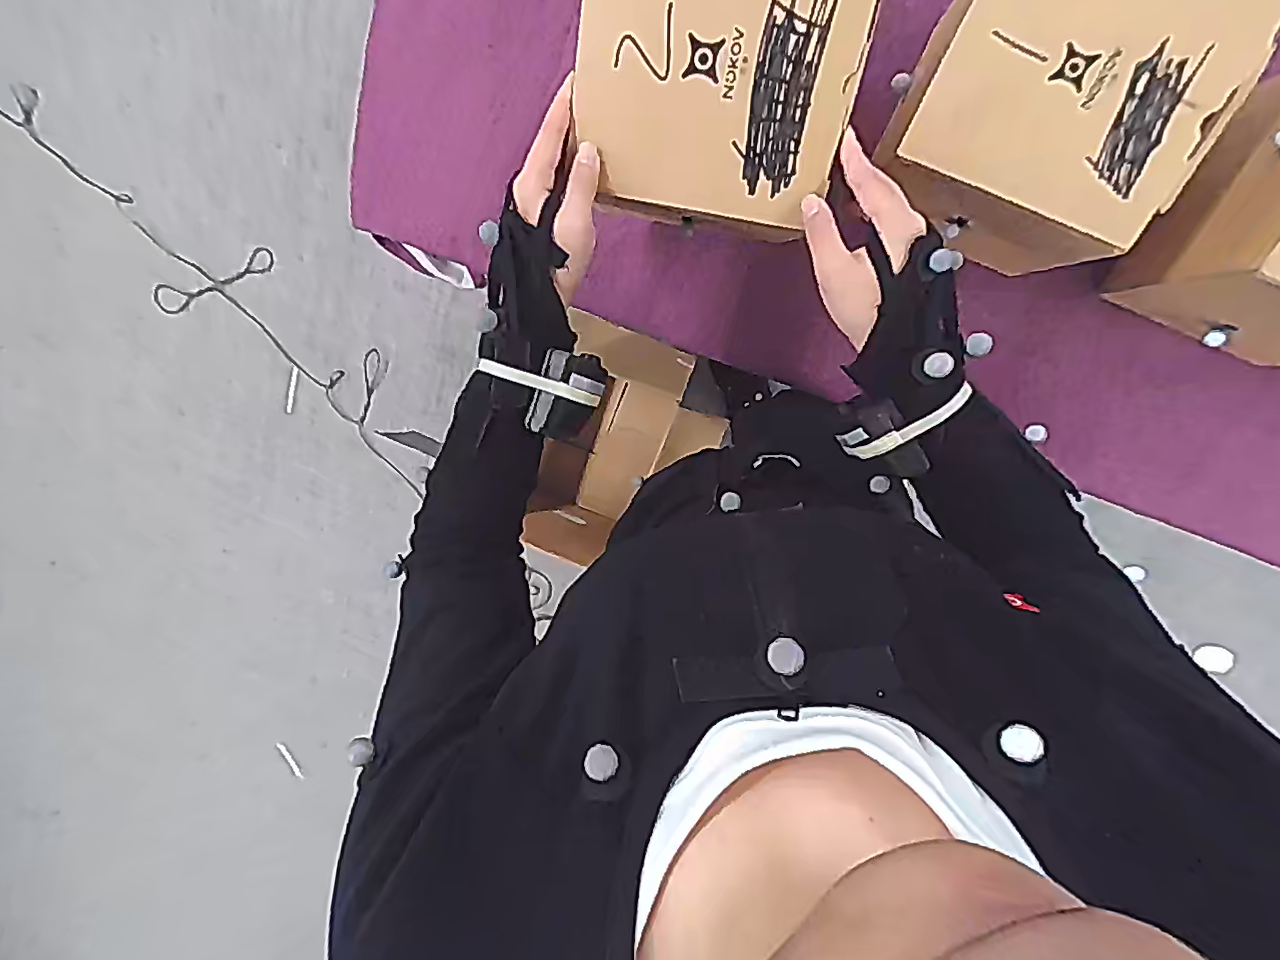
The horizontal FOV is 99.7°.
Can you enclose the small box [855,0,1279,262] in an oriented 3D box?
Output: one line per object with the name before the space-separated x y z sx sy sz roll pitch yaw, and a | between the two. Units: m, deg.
small box | 0.300 -0.286 0.425 0.179 0.176 0.168 25 108 3
